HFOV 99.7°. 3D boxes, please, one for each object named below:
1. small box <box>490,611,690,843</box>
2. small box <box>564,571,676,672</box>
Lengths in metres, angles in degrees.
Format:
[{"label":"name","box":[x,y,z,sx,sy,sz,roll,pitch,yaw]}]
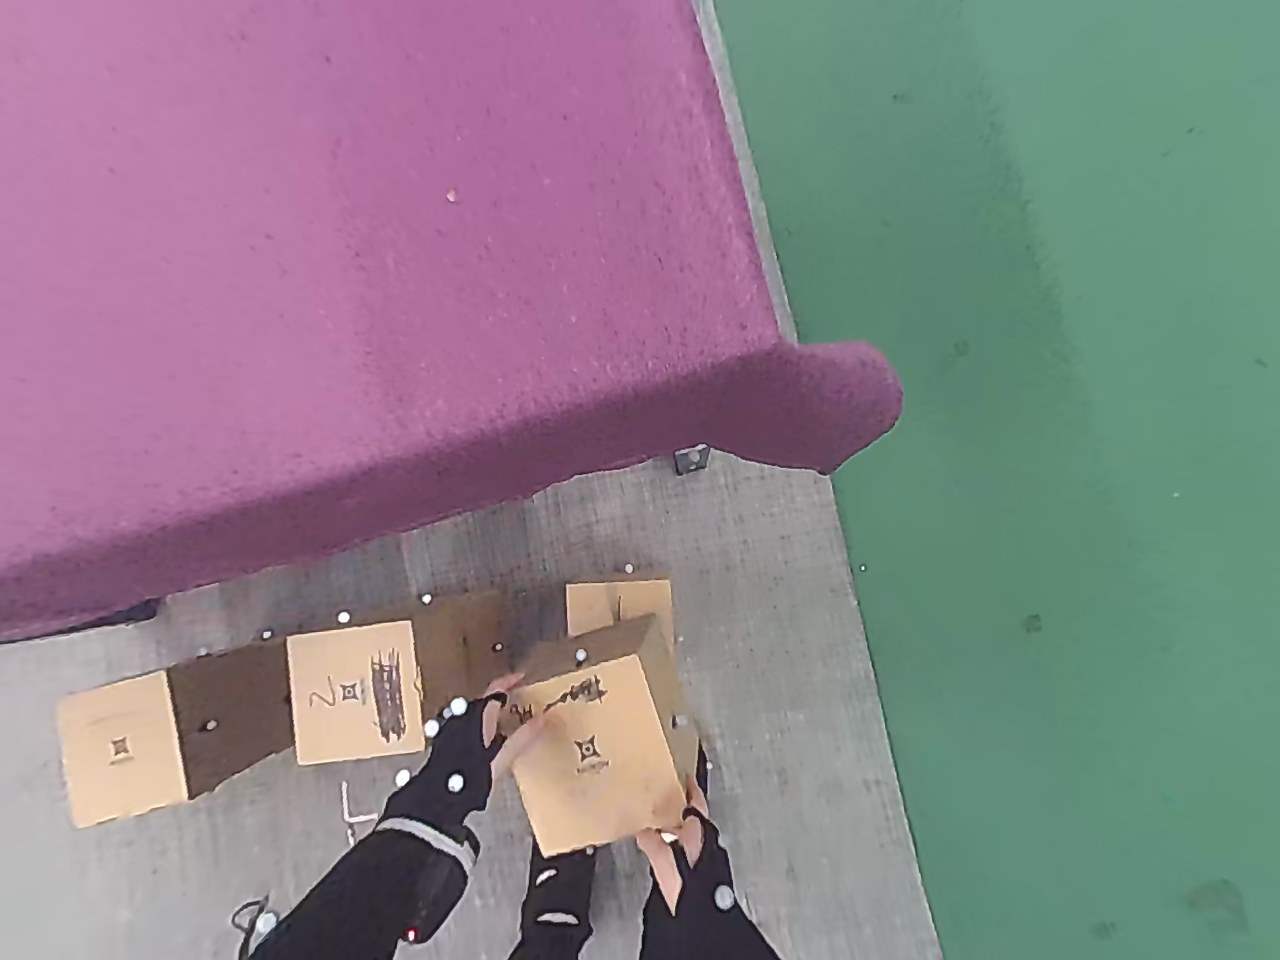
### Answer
[{"label":"small box","box":[-0.045,0.276,0.637,0.168,0.176,0.179,-18,88,9]},{"label":"small box","box":[-0.027,0.251,0.911,0.168,0.176,0.179,-3,84,4]}]
